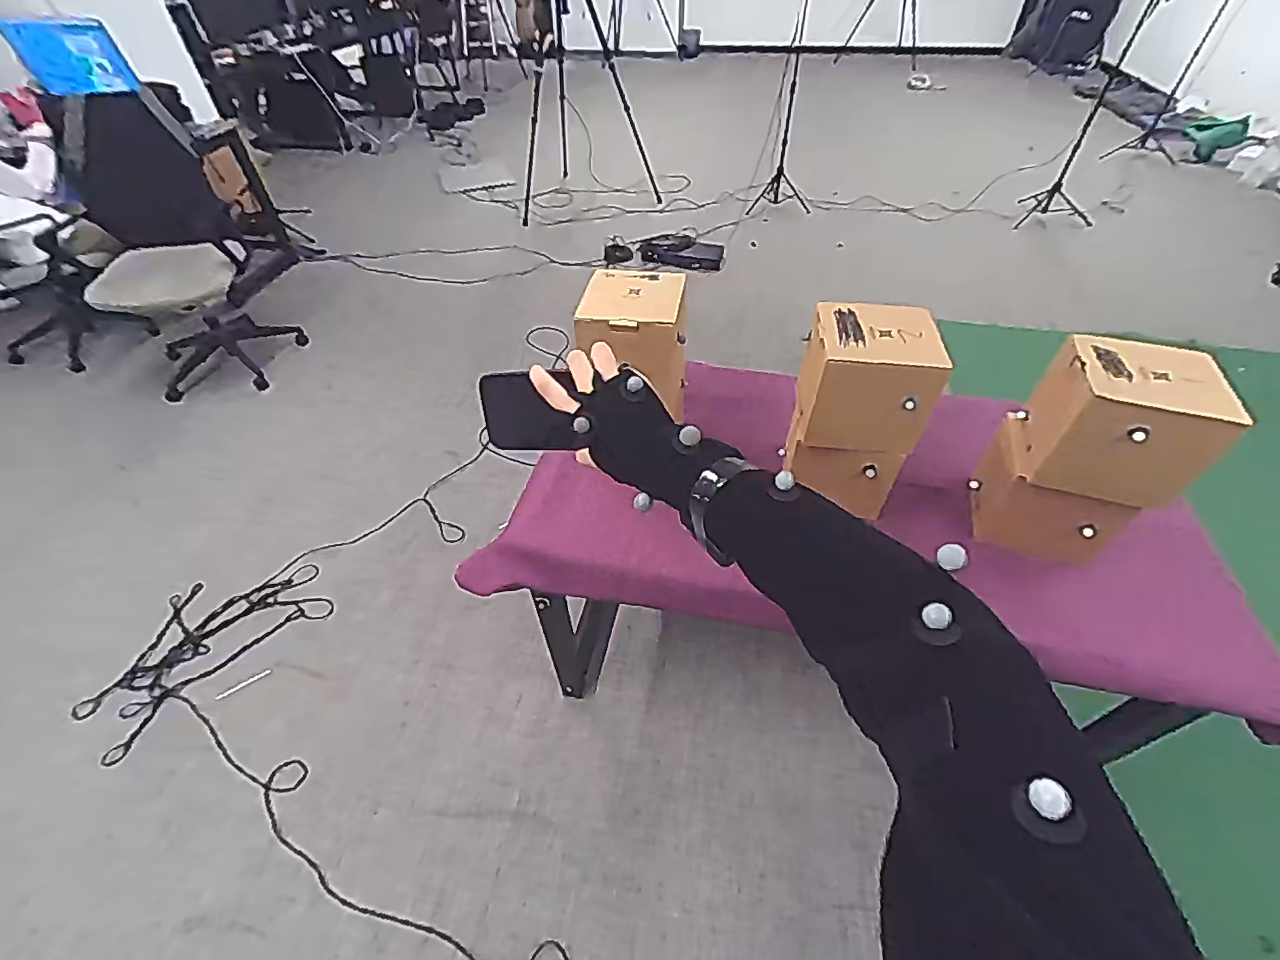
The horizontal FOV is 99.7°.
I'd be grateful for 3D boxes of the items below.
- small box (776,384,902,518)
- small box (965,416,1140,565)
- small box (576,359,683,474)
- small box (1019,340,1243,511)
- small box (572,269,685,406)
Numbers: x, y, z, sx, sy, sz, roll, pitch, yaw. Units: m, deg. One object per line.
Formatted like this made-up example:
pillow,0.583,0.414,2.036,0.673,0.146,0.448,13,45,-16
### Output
small box,0.359,-0.050,0.991,0.179,0.176,0.168,10,48,11
small box,0.684,0.022,0.920,0.179,0.176,0.168,15,48,15
small box,-0.013,-0.134,1.078,0.168,0.176,0.179,11,48,11
small box,0.686,-0.078,0.789,0.179,0.176,0.168,15,49,14
small box,-0.013,-0.252,0.964,0.168,0.176,0.179,7,48,7
